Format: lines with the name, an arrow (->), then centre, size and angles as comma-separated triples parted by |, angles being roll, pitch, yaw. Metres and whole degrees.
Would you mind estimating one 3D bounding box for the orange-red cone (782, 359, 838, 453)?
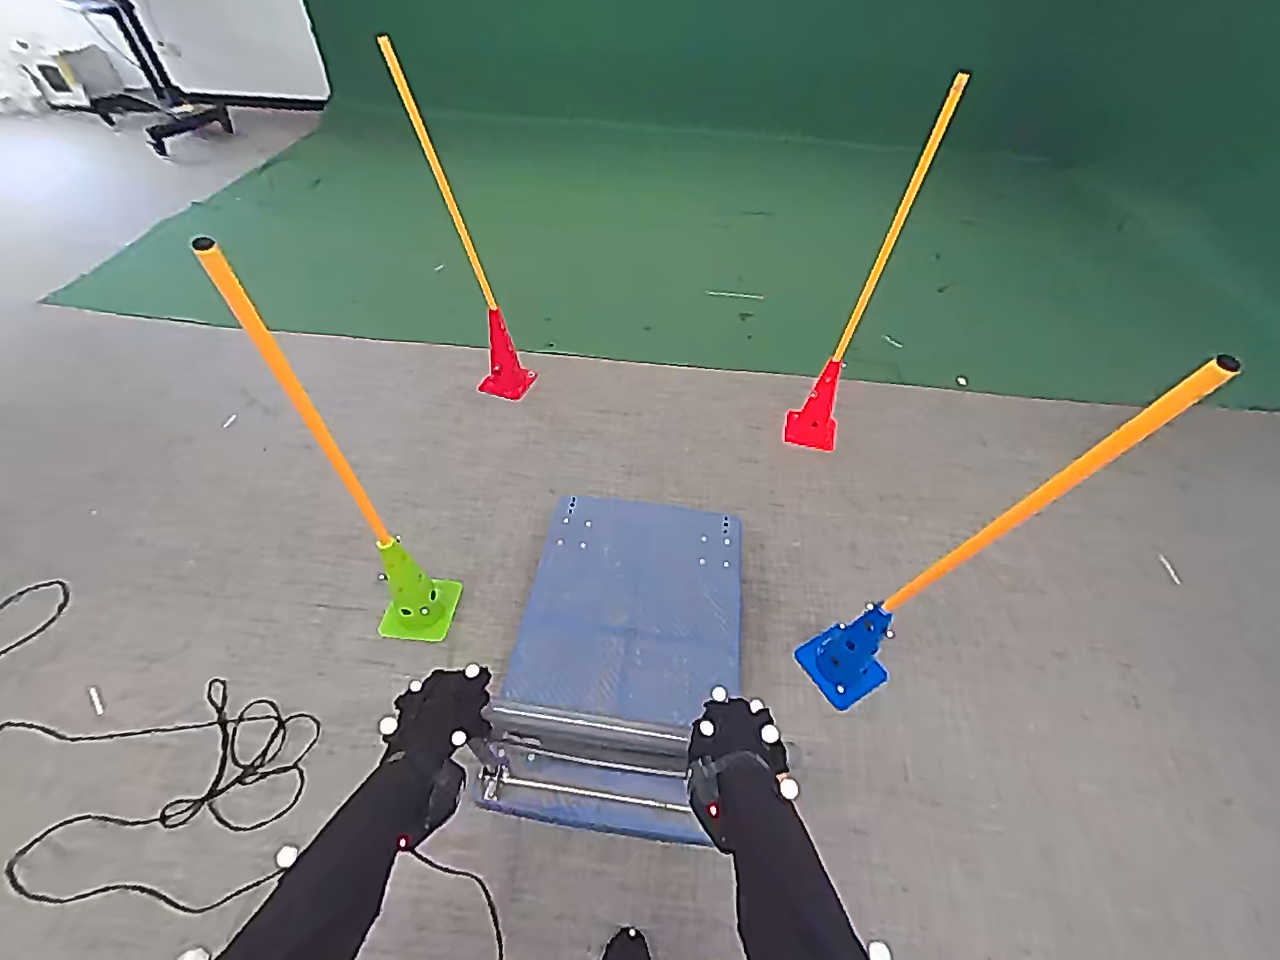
orange-red cone -> 0.691, -0.306, 2.073 | 0.198, 0.360, 0.199 | 14, 50, 10
